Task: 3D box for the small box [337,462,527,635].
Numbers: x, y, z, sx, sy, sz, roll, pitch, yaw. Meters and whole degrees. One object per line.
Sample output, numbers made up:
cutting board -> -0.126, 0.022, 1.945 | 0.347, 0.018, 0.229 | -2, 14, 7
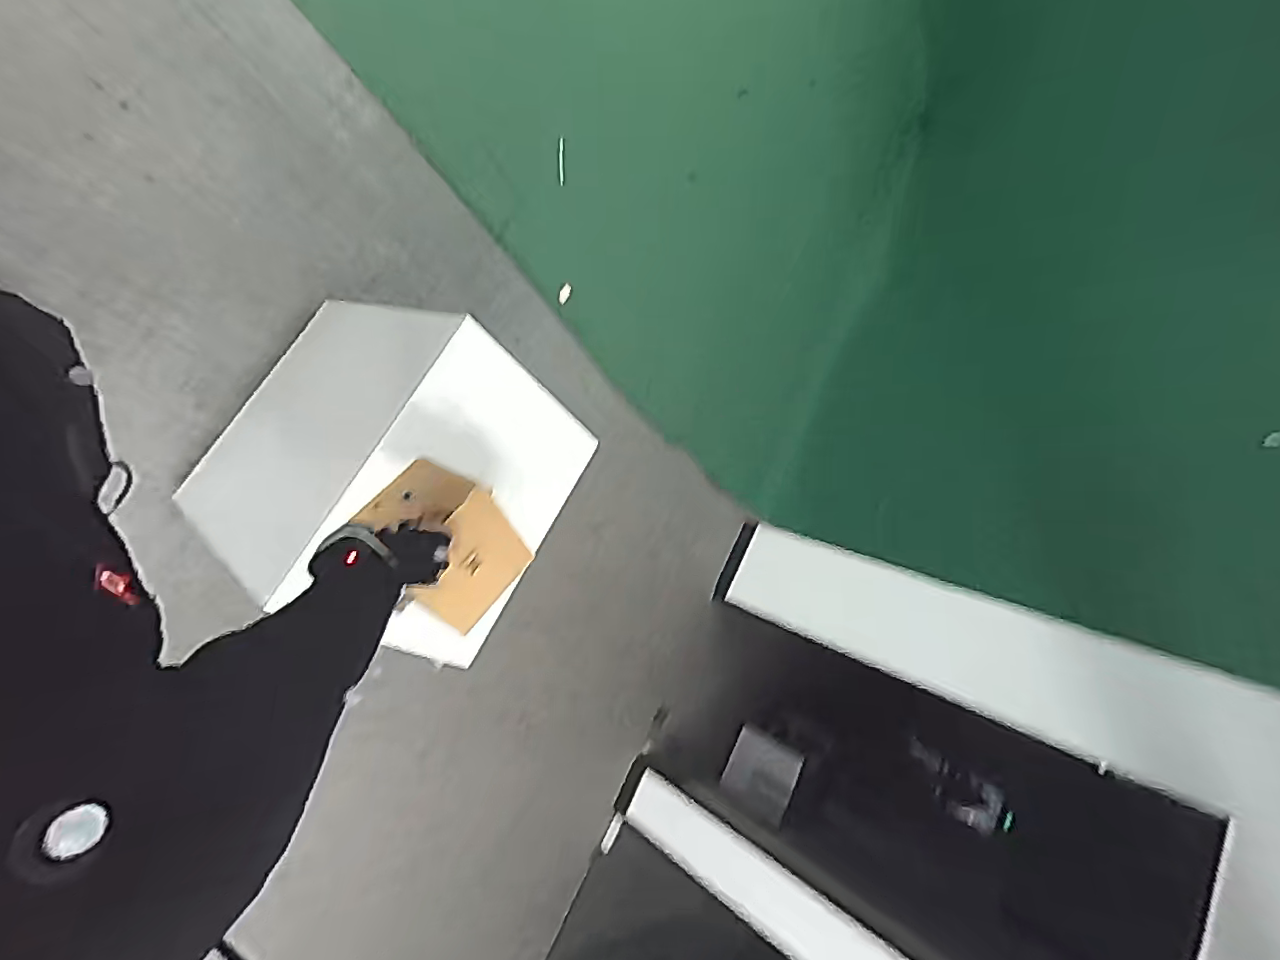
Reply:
small box -> -0.313, 0.097, 0.825 | 0.168, 0.176, 0.179 | -49, 138, -26
